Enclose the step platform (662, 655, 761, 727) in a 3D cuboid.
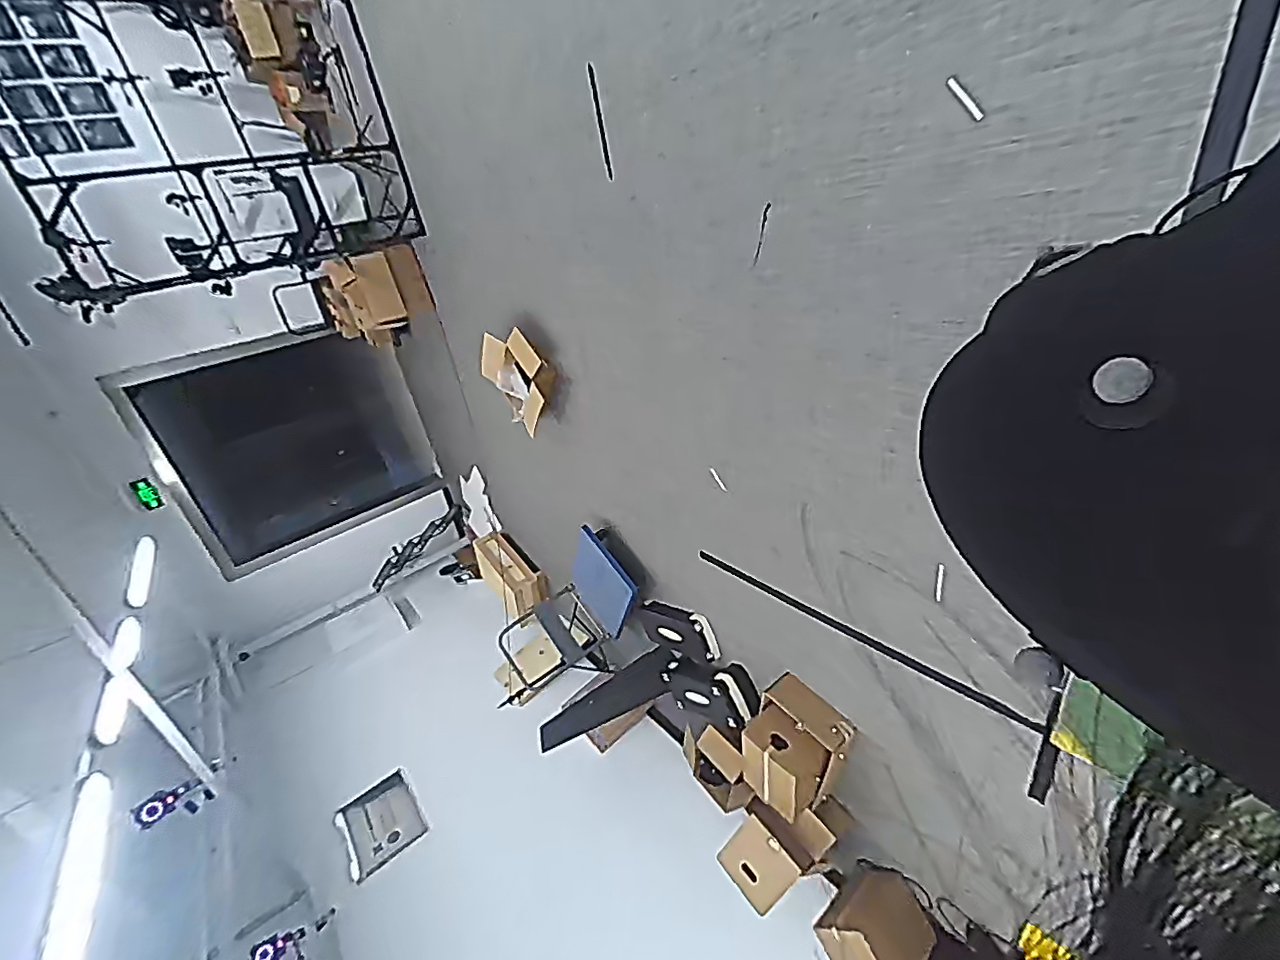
[{"bbox_3d":[0.403,1.253,3.242,0.684,0.204,0.286,-23,94,59],"label":"step platform"}]
